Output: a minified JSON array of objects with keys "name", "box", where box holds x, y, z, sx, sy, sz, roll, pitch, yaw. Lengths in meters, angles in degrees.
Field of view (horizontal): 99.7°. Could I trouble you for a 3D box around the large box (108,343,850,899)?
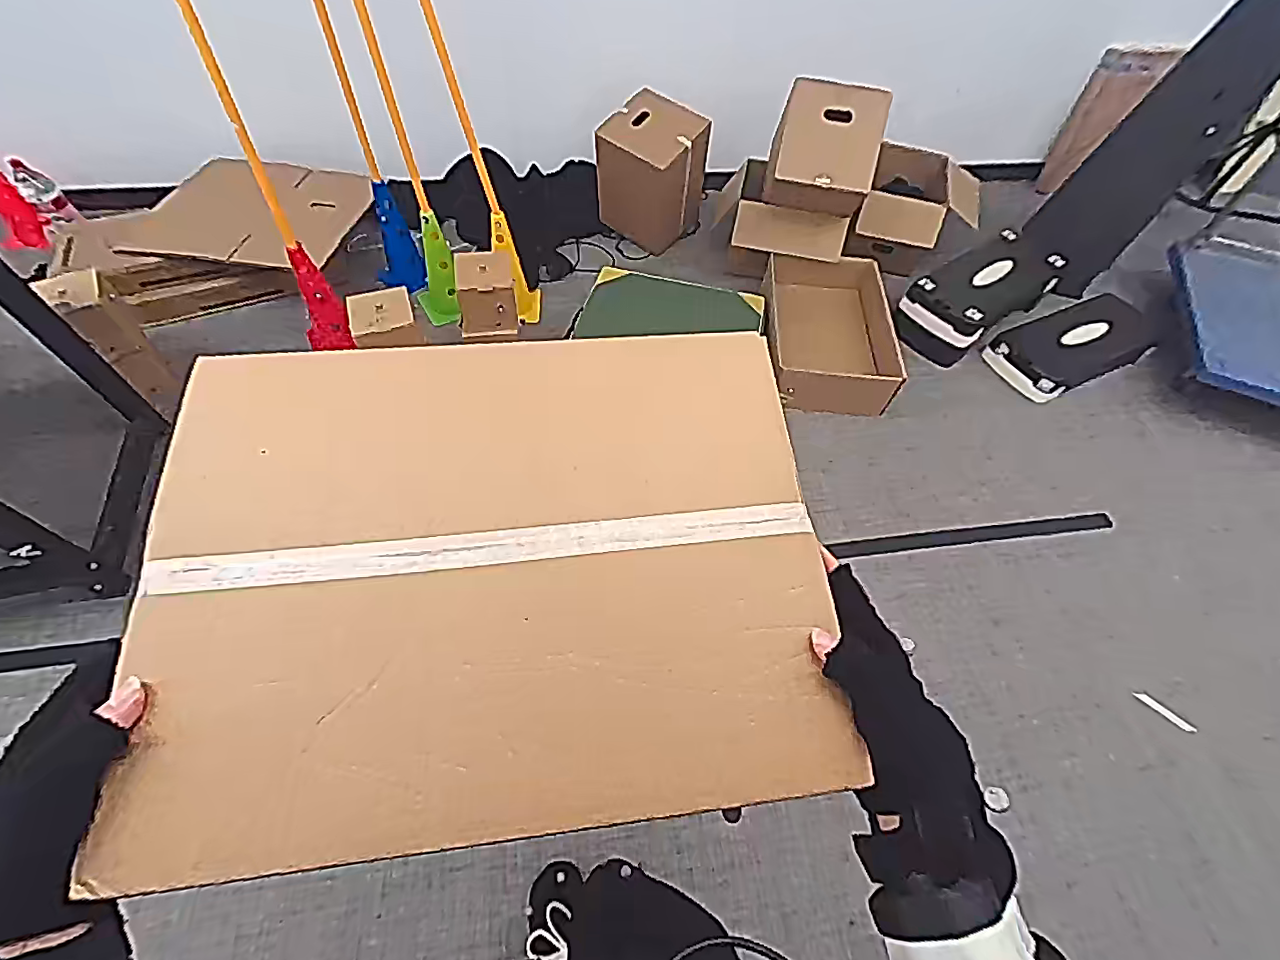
[{"name":"large box","box":[-0.099,0.107,0.484,0.408,0.320,0.320,-5,67,-6]}]
